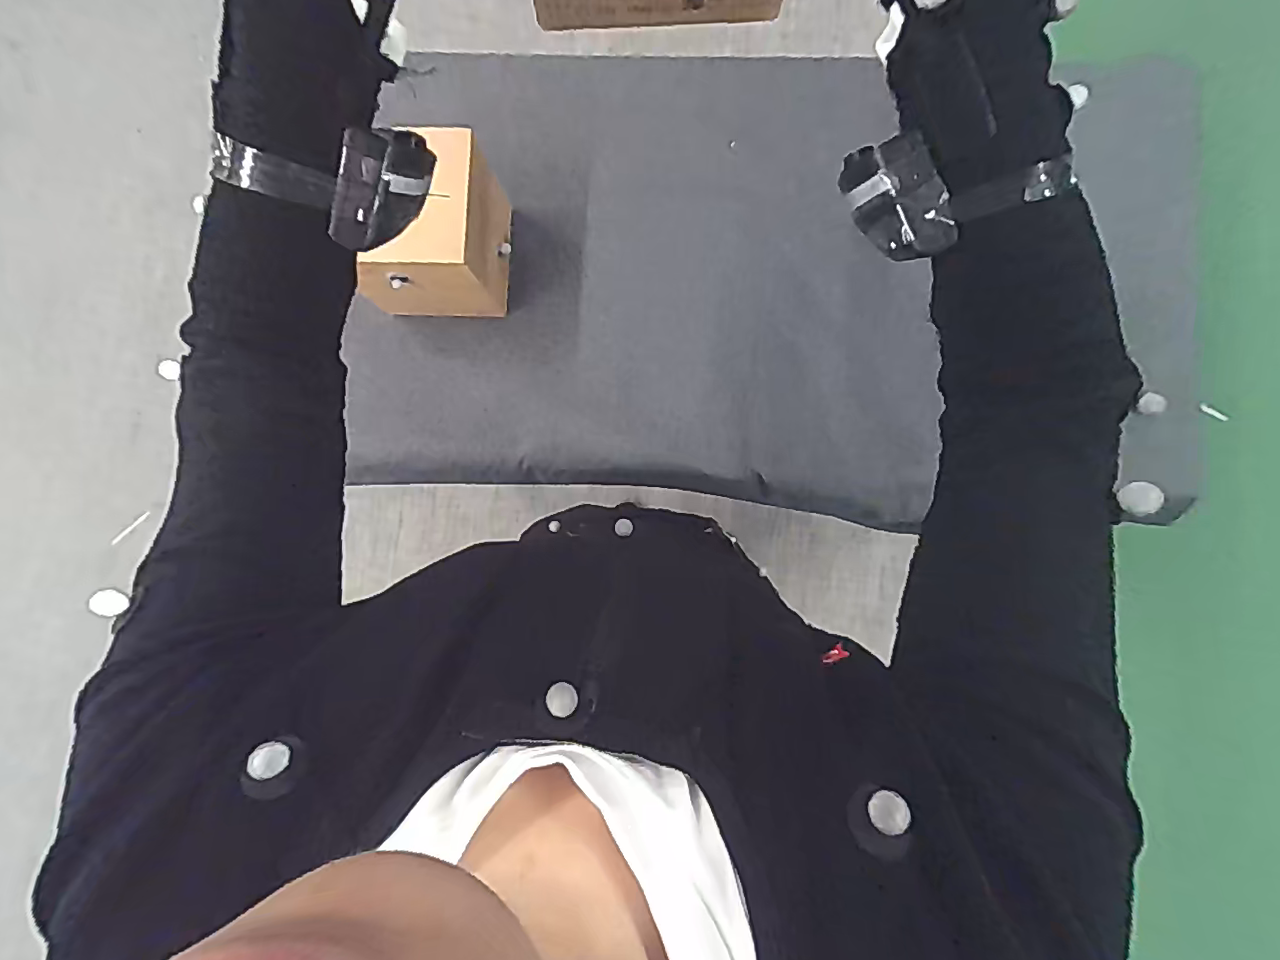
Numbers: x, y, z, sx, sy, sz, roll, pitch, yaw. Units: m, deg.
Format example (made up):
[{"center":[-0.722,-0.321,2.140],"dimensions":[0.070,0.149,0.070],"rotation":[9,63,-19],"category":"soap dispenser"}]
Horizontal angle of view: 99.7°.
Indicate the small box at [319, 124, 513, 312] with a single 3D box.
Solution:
[{"center":[-0.280,-0.330,0.709],"dimensions":[0.179,0.176,0.168],"rotation":[2,87,2],"category":"small box"}]
